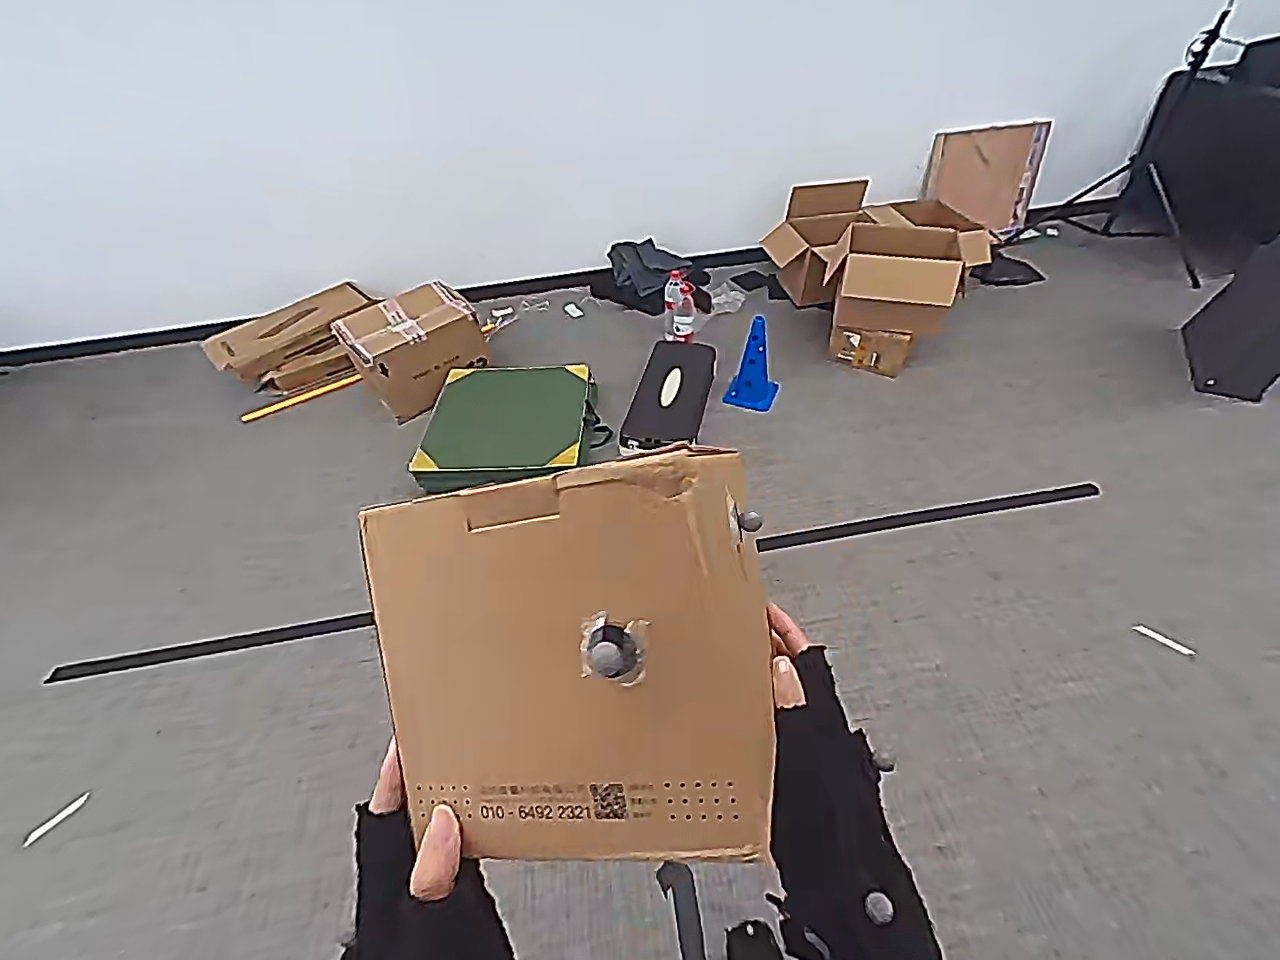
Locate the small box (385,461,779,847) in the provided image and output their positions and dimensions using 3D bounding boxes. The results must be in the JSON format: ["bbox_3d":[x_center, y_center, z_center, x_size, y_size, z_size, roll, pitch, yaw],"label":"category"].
[{"bbox_3d":[-0.015,0.088,0.330,0.168,0.179,0.176,-10,89,18],"label":"small box"}]
